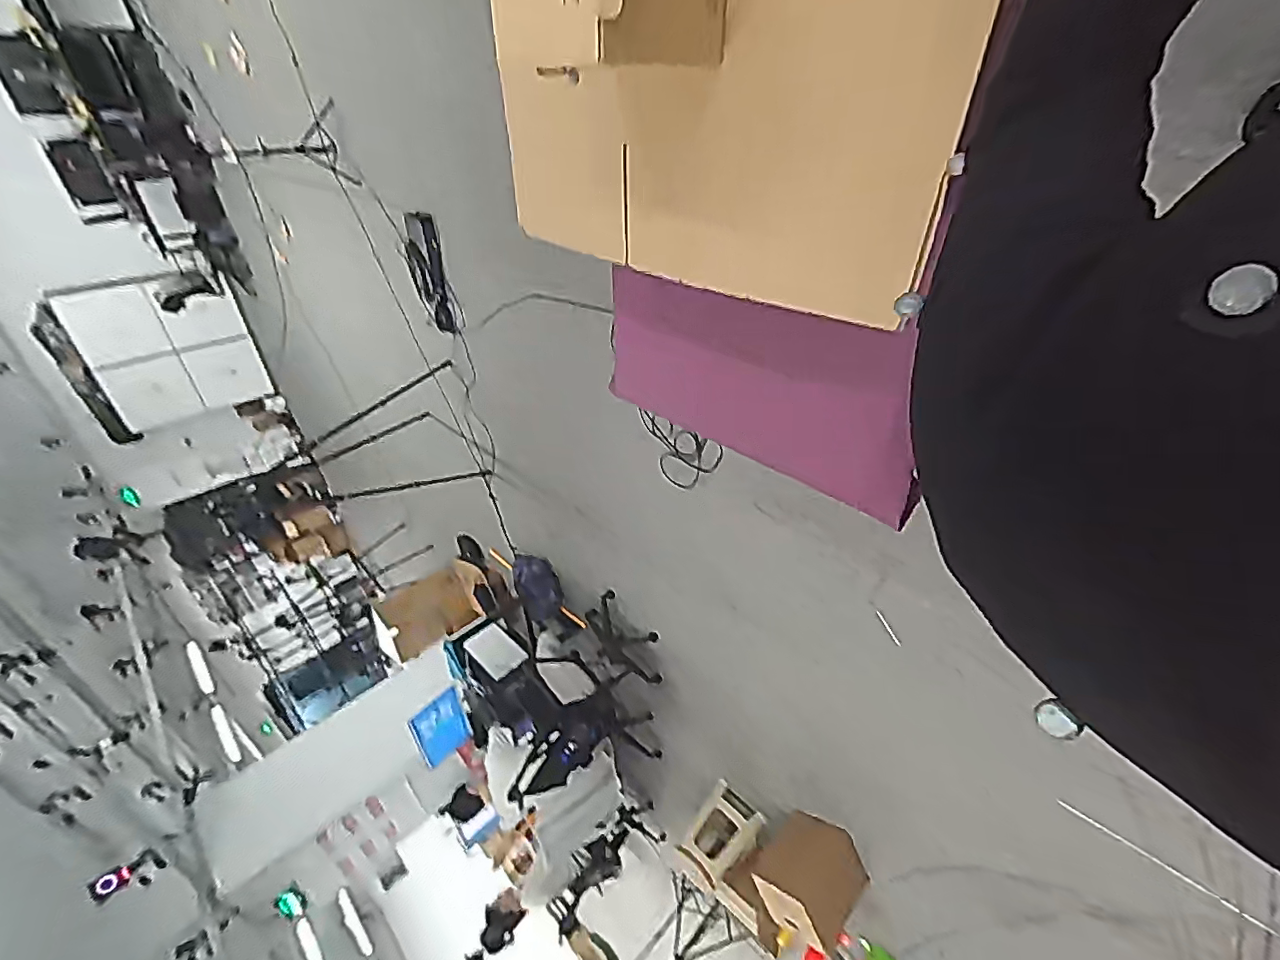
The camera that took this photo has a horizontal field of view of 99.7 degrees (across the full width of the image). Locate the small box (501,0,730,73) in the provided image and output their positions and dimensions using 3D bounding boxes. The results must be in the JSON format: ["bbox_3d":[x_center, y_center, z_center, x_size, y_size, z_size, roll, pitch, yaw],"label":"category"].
[{"bbox_3d":[-0.025,-0.512,0.539,0.179,0.176,0.168,32,137,35],"label":"small box"}]
